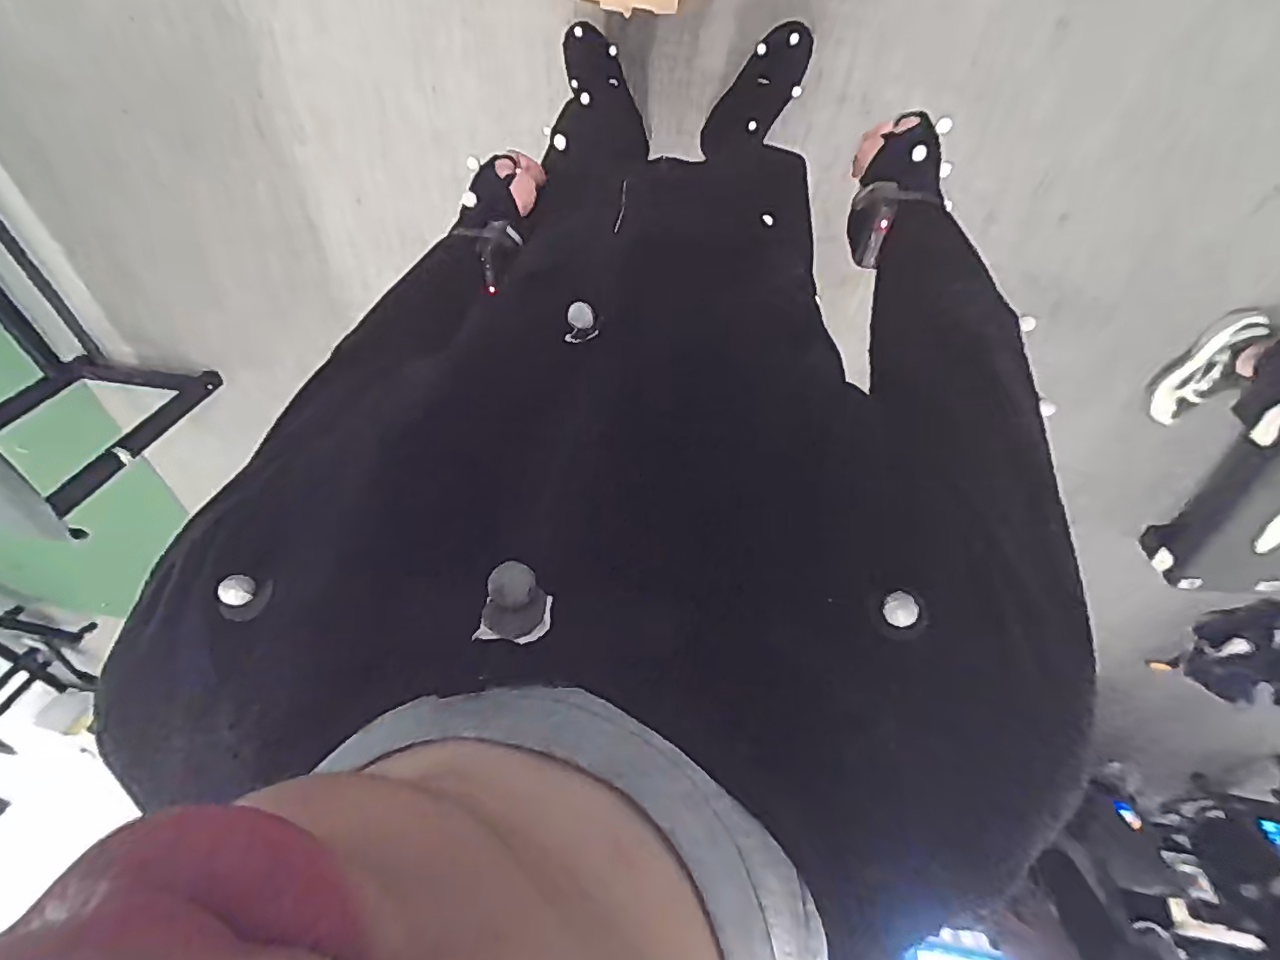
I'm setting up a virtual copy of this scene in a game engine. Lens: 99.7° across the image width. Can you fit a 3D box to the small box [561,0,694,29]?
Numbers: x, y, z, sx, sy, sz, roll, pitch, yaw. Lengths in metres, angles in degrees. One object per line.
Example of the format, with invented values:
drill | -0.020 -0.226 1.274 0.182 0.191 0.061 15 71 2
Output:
small box | -0.002 -0.738 0.721 0.168 0.176 0.179 13 135 1
